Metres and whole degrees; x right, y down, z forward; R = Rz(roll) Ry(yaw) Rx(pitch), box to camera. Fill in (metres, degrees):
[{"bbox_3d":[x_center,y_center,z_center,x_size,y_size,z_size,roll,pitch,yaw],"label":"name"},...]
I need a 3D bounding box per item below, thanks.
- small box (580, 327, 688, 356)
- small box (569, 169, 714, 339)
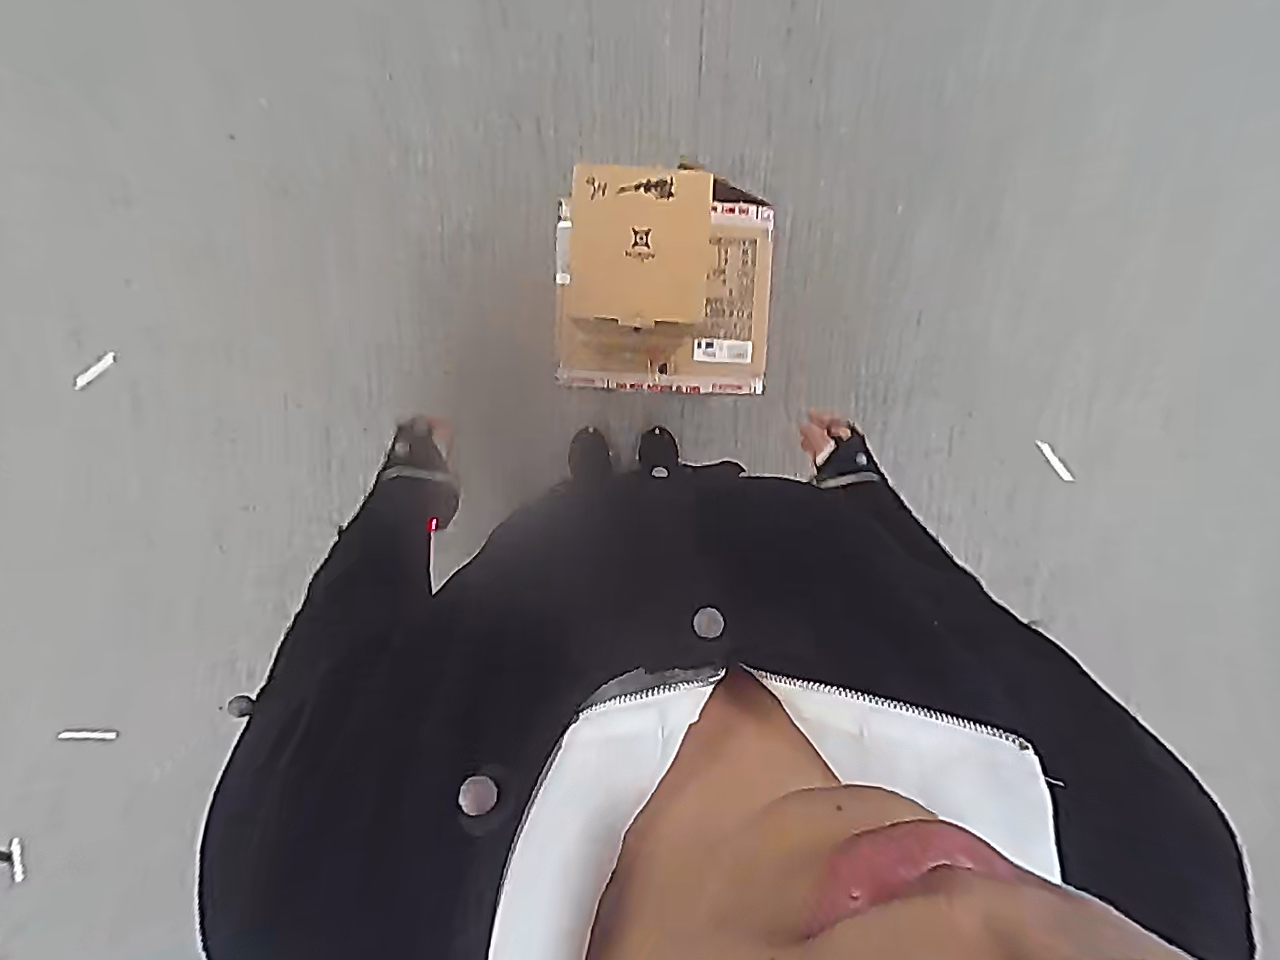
[{"bbox_3d":[-0.010,-0.298,0.880,0.168,0.176,0.179,1,100,-1],"label":"small box"},{"bbox_3d":[-0.001,-0.283,0.716,0.168,0.176,0.179,3,100,-2],"label":"small box"}]
